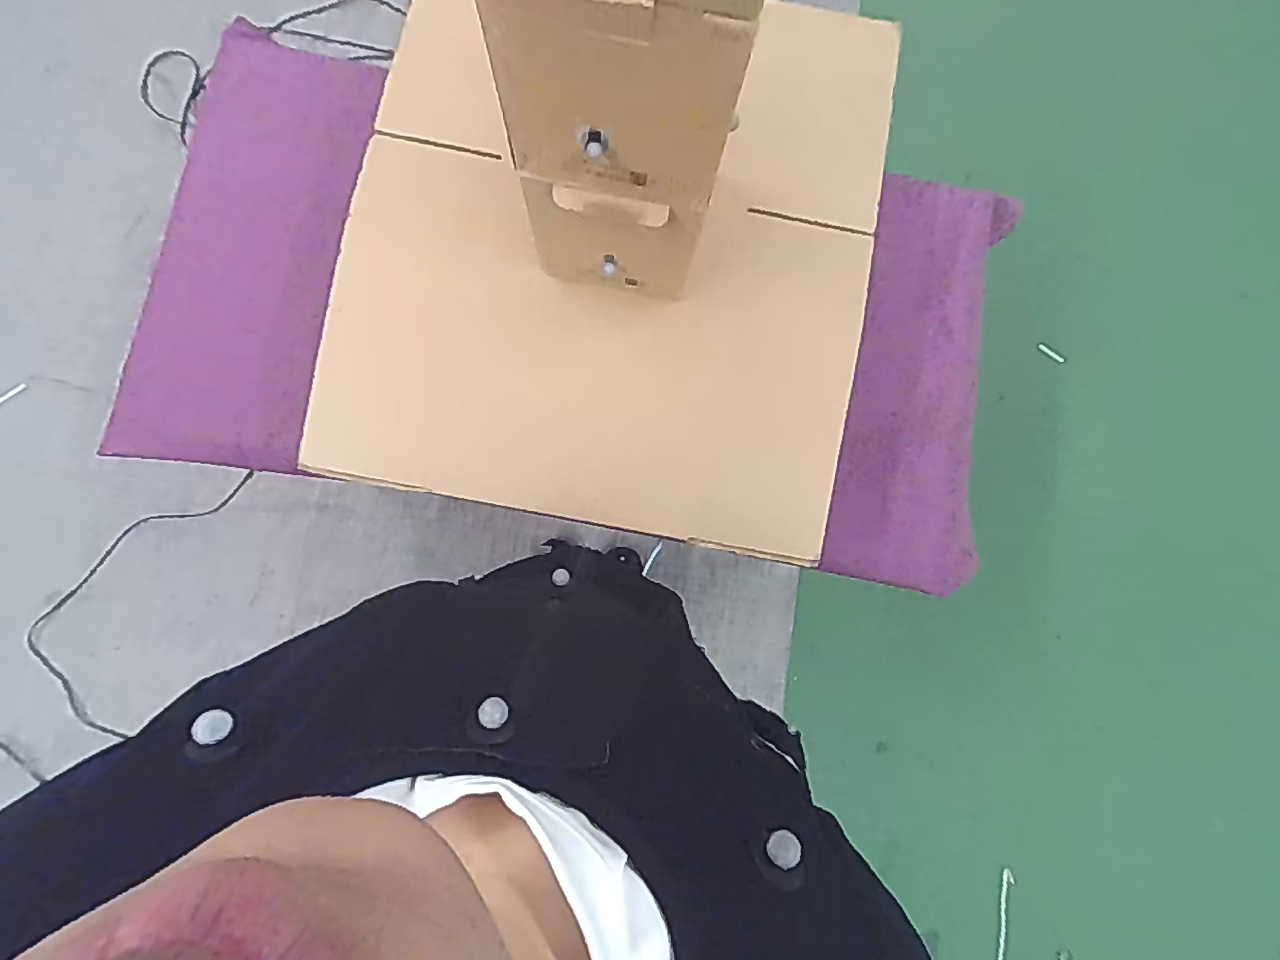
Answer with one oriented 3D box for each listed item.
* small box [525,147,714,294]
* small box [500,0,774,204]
[{"bbox_3d":[-0.008,-0.321,0.551,0.168,0.176,0.179,11,83,-2],"label":"small box"},{"bbox_3d":[0.001,-0.342,0.390,0.168,0.176,0.179,10,83,-3],"label":"small box"}]
